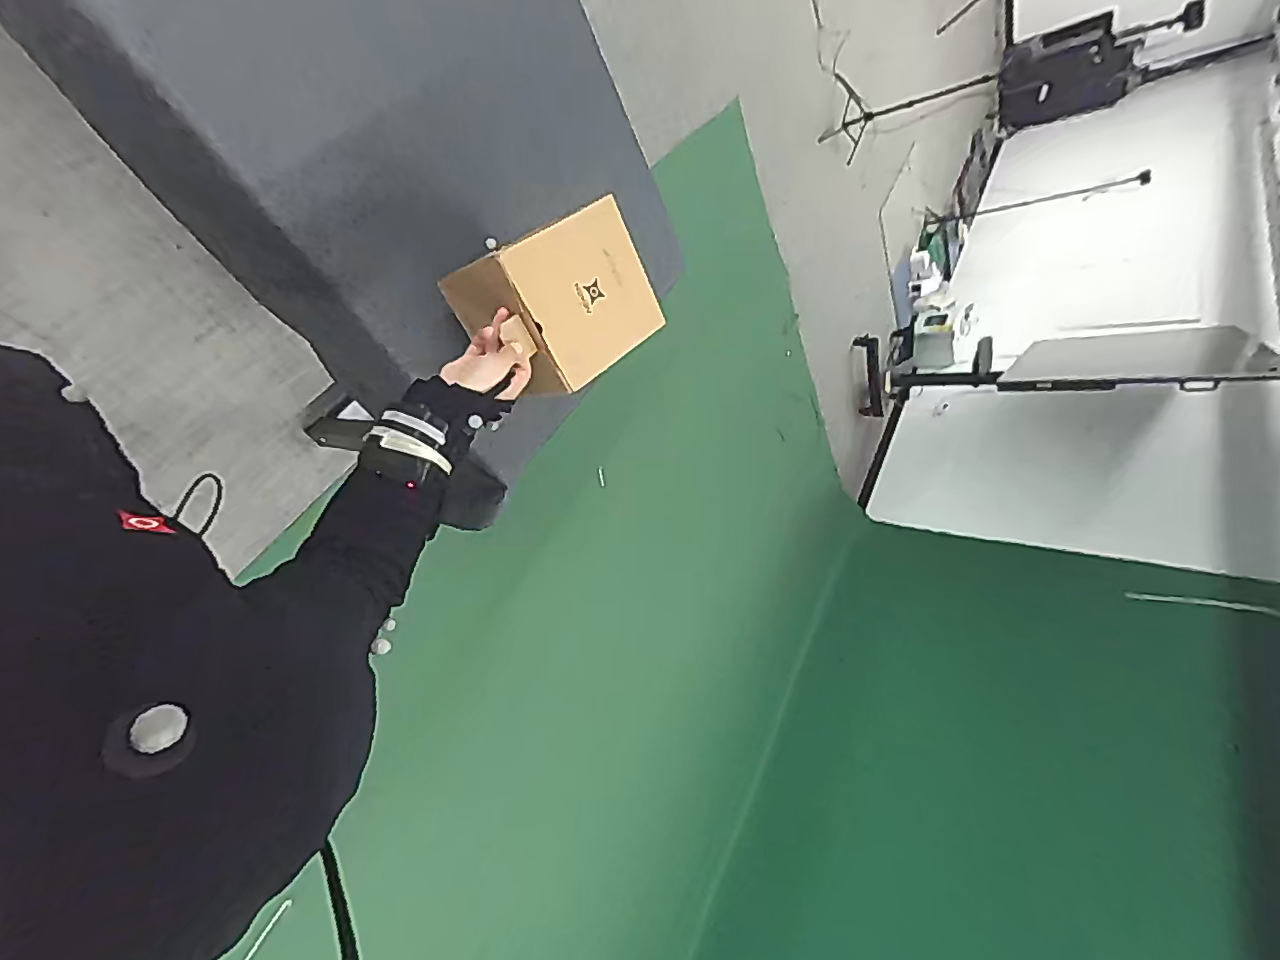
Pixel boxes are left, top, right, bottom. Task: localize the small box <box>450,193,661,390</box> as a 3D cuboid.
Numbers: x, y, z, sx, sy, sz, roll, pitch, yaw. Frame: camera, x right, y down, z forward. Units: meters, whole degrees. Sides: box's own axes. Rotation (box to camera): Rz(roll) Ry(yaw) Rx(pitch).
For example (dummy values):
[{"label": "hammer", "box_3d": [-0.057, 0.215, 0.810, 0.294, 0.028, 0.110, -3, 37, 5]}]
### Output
[{"label": "small box", "box_3d": [-0.111, -0.223, 0.676, 0.179, 0.176, 0.168, -44, 123, -28]}]
